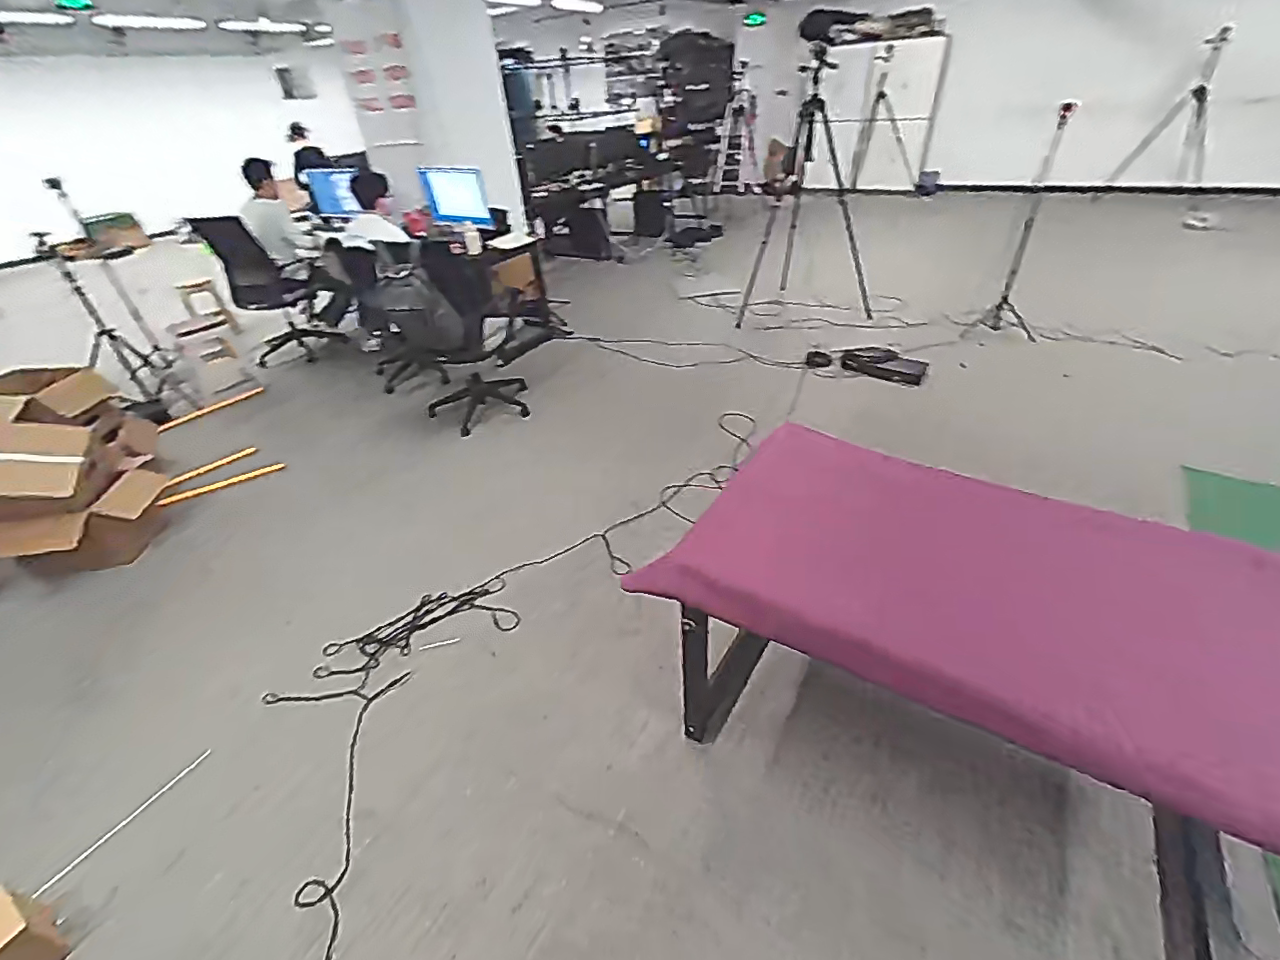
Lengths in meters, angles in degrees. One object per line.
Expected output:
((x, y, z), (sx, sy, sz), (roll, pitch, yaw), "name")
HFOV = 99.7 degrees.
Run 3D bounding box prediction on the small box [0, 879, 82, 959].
((-1.429, 1.056, 1.206), (0.168, 0.176, 0.179), (17, 41, 27), "small box")
